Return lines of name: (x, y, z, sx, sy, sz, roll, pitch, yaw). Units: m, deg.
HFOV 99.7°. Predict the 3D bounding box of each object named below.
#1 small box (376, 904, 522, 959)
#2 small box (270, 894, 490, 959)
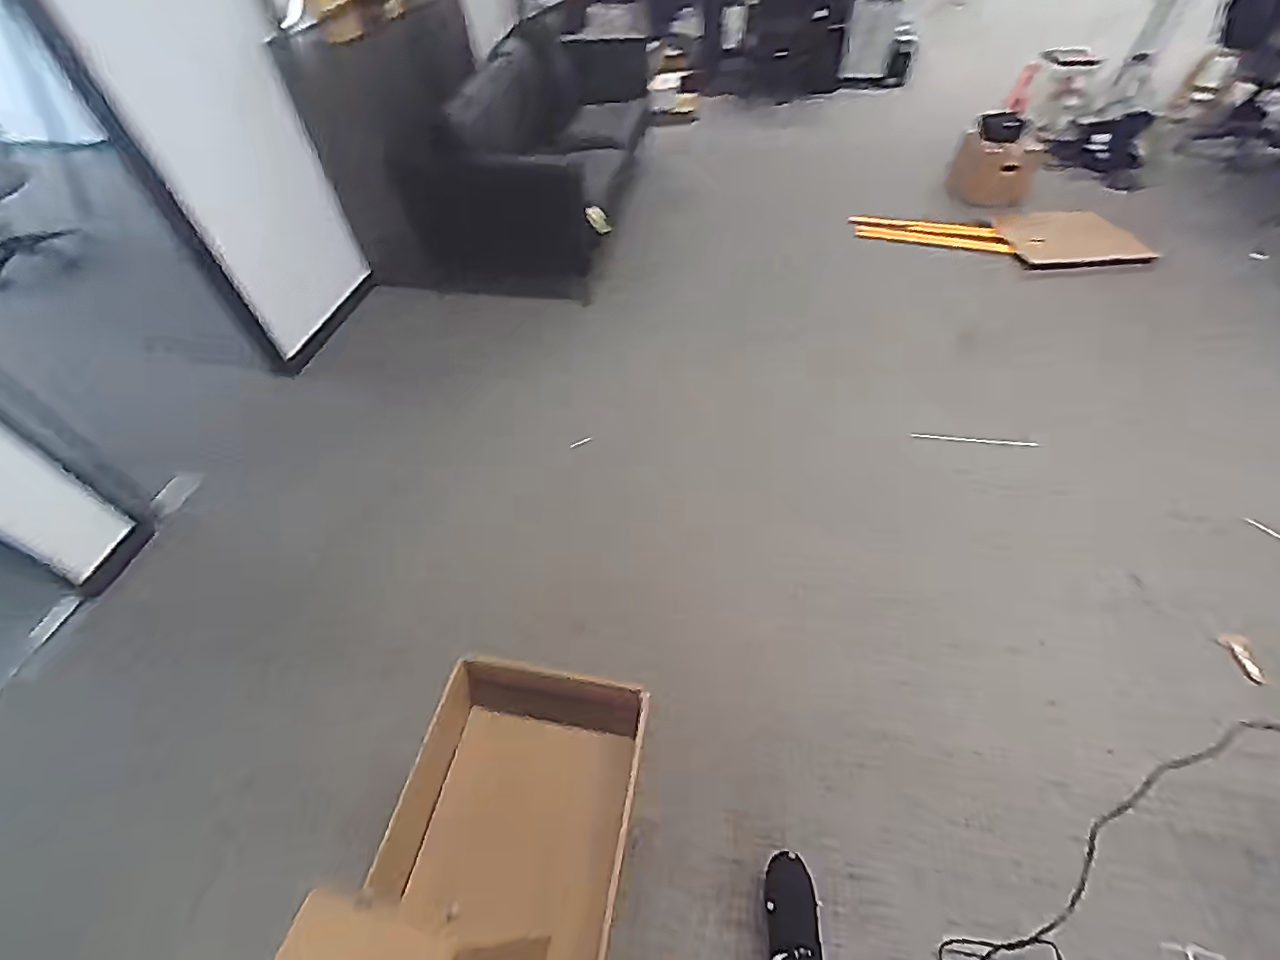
small box: (-0.273, 0.667, 0.685, 0.179, 0.176, 0.168, 7, 51, 11)
small box: (-0.284, 0.561, 0.560, 0.179, 0.176, 0.168, 9, 52, 12)
